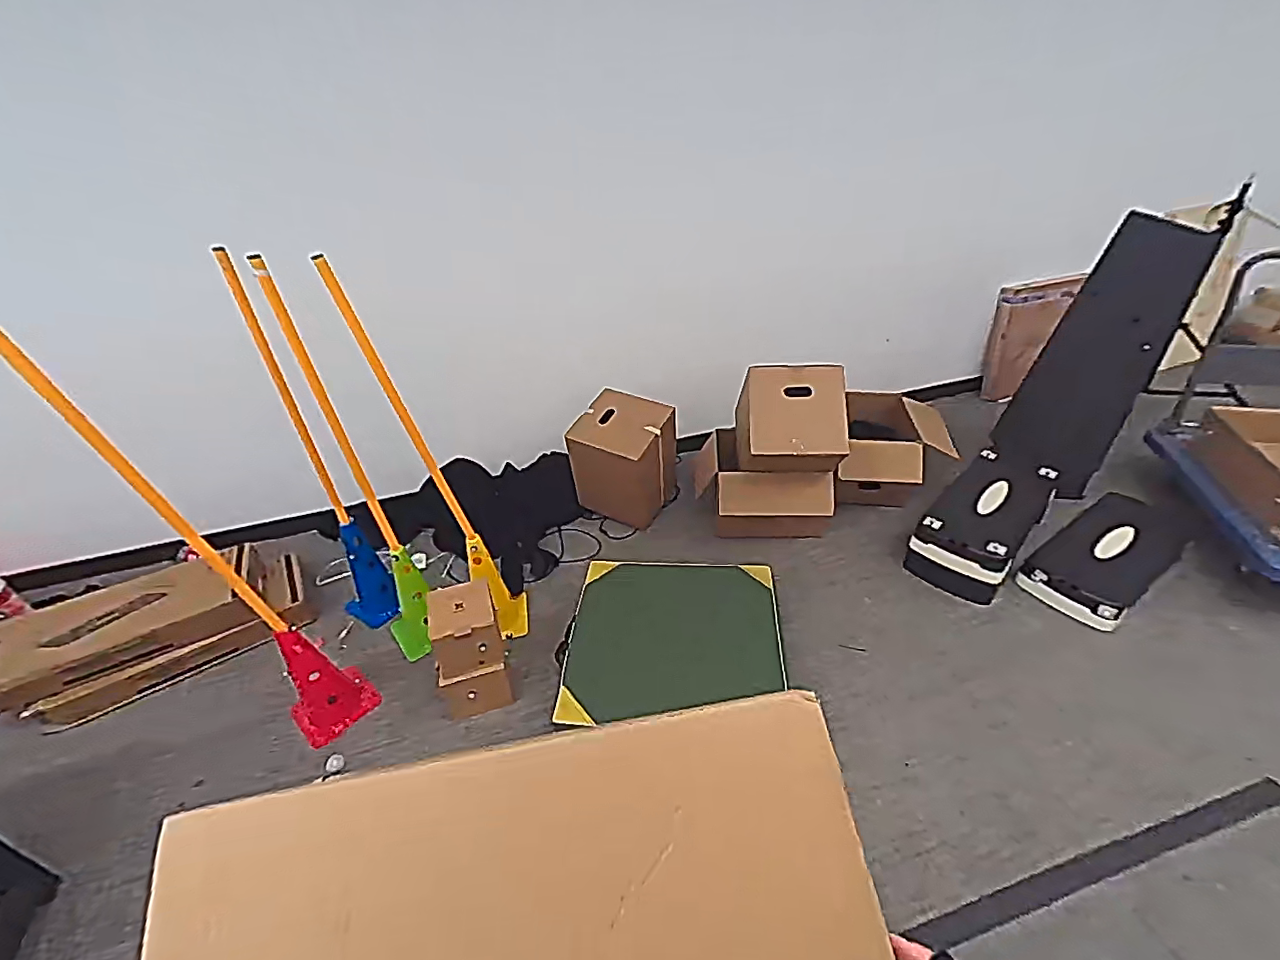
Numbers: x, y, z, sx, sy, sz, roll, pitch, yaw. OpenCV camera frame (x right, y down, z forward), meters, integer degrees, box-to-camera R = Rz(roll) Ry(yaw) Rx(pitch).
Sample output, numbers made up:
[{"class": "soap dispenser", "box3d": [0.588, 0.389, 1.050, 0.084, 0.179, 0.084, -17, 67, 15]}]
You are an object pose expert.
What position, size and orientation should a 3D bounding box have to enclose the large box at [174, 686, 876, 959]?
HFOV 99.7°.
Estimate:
[{"class": "large box", "box3d": [-0.057, 0.369, 0.426, 0.408, 0.320, 0.320, -10, 68, -2]}]
